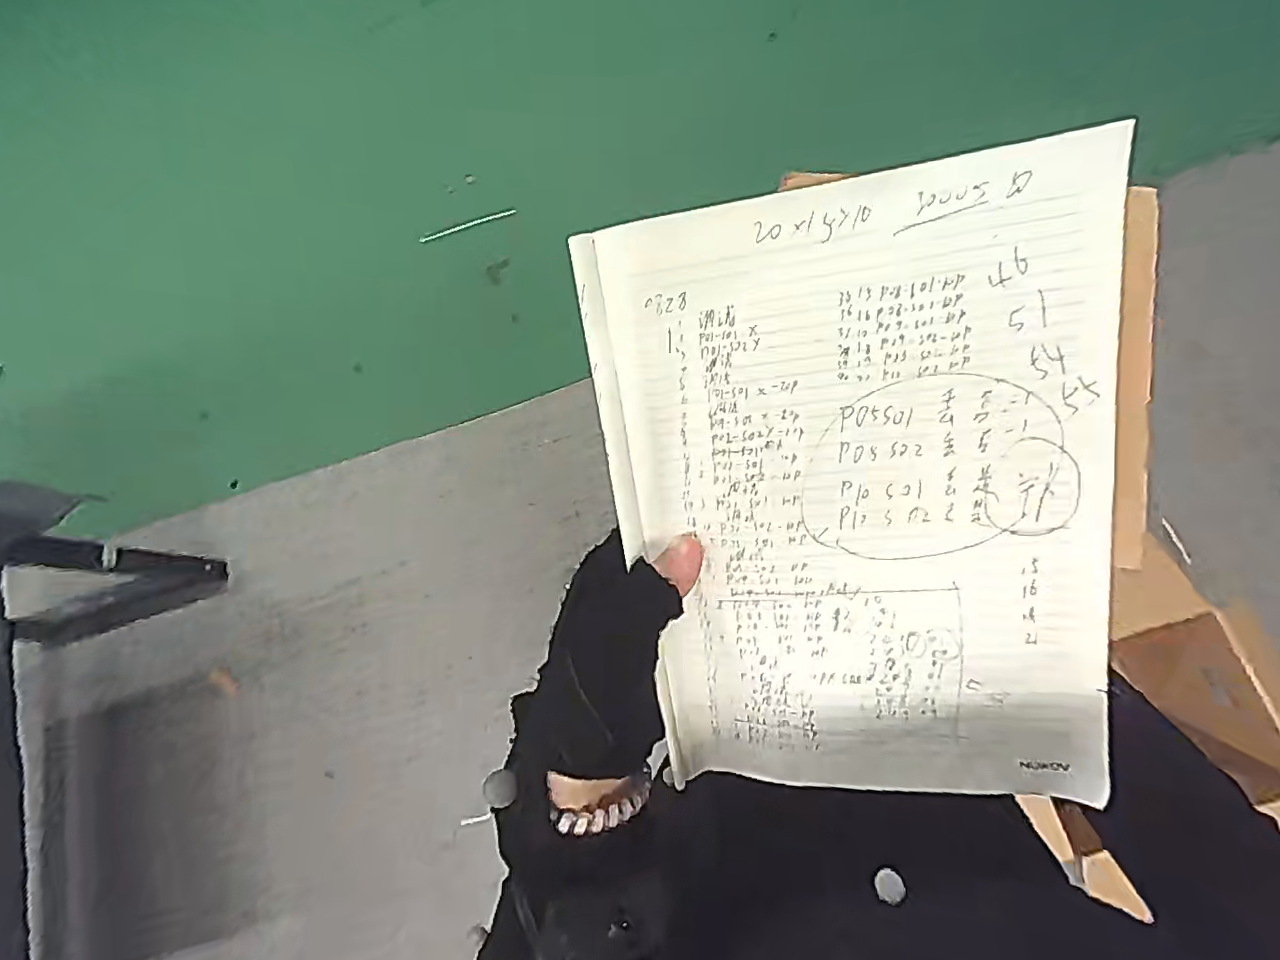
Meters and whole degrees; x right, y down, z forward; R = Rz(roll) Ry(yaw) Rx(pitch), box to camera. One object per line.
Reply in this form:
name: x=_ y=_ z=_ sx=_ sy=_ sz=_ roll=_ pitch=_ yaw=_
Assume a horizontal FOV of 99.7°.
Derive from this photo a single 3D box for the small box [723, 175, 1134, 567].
small box: x=0.142 y=-0.048 z=0.327 sx=0.168 sy=0.176 sz=0.179 roll=5 pitch=85 yaw=6
